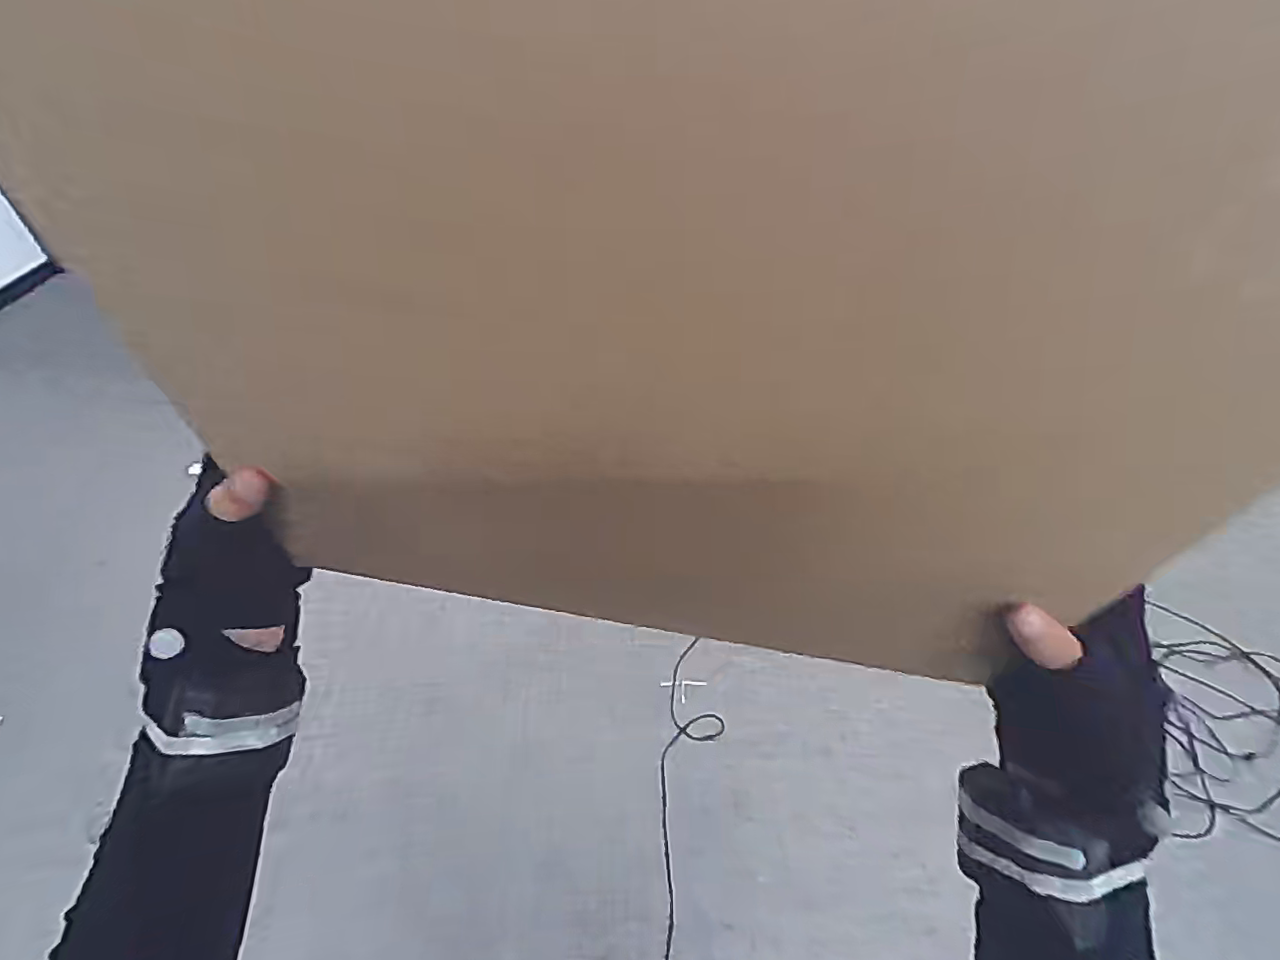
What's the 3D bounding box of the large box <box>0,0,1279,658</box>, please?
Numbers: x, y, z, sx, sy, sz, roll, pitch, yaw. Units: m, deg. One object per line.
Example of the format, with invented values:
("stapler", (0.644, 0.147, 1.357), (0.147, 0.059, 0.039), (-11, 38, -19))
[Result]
("large box", (0.034, -0.133, 0.301), (0.408, 0.320, 0.320), (10, 50, 1))
